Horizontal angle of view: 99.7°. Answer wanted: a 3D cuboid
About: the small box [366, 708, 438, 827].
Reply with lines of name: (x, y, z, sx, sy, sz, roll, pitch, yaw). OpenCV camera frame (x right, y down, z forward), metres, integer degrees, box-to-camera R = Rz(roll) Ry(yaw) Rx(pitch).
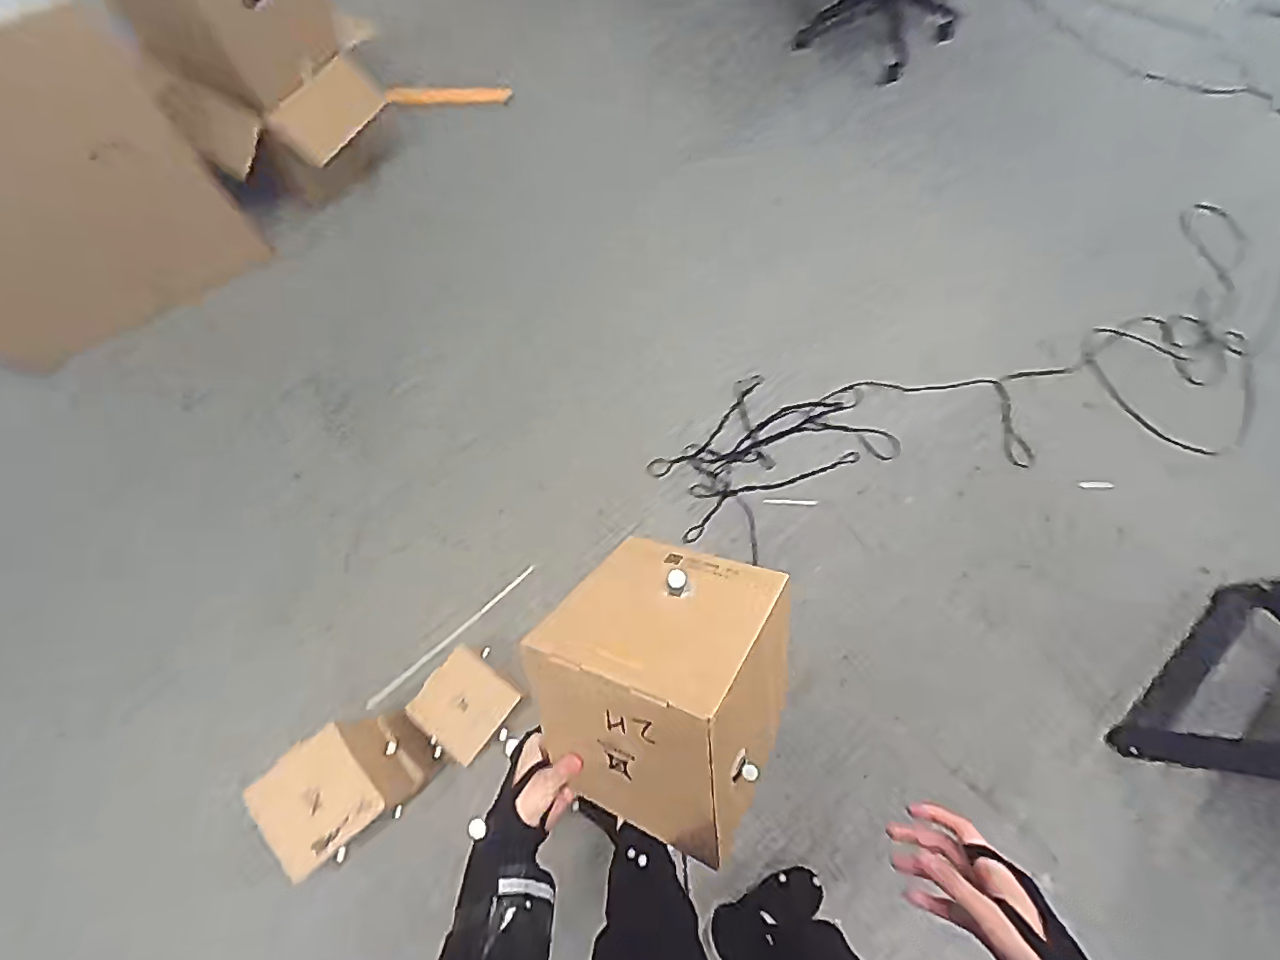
small box: (-0.540, 0.593, 1.111, 0.179, 0.176, 0.168, -40, 77, -15)

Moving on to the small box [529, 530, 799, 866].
small box: (0.032, 0.171, 0.472, 0.168, 0.179, 0.176, 12, 31, 29)

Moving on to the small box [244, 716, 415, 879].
small box: (-0.535, 0.542, 0.956, 0.168, 0.176, 0.179, -39, 76, -14)

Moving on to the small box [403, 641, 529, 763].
small box: (-0.364, 0.471, 1.166, 0.179, 0.176, 0.168, 37, 74, 9)
